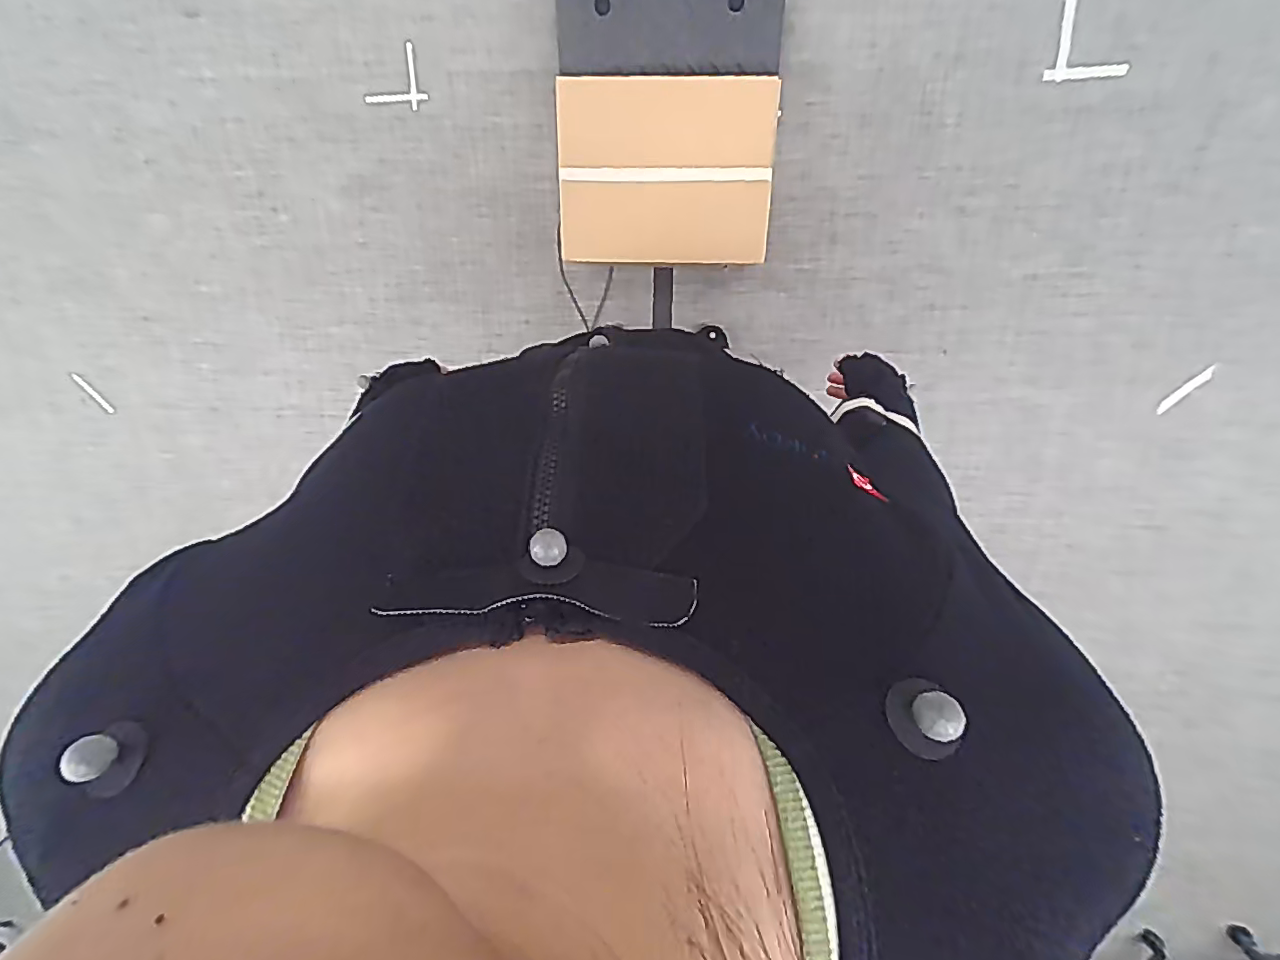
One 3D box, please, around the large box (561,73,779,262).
[{"bbox_3d":[0.063,-0.638,1.165,0.408,0.320,0.320,2,110,3],"label":"large box"}]
